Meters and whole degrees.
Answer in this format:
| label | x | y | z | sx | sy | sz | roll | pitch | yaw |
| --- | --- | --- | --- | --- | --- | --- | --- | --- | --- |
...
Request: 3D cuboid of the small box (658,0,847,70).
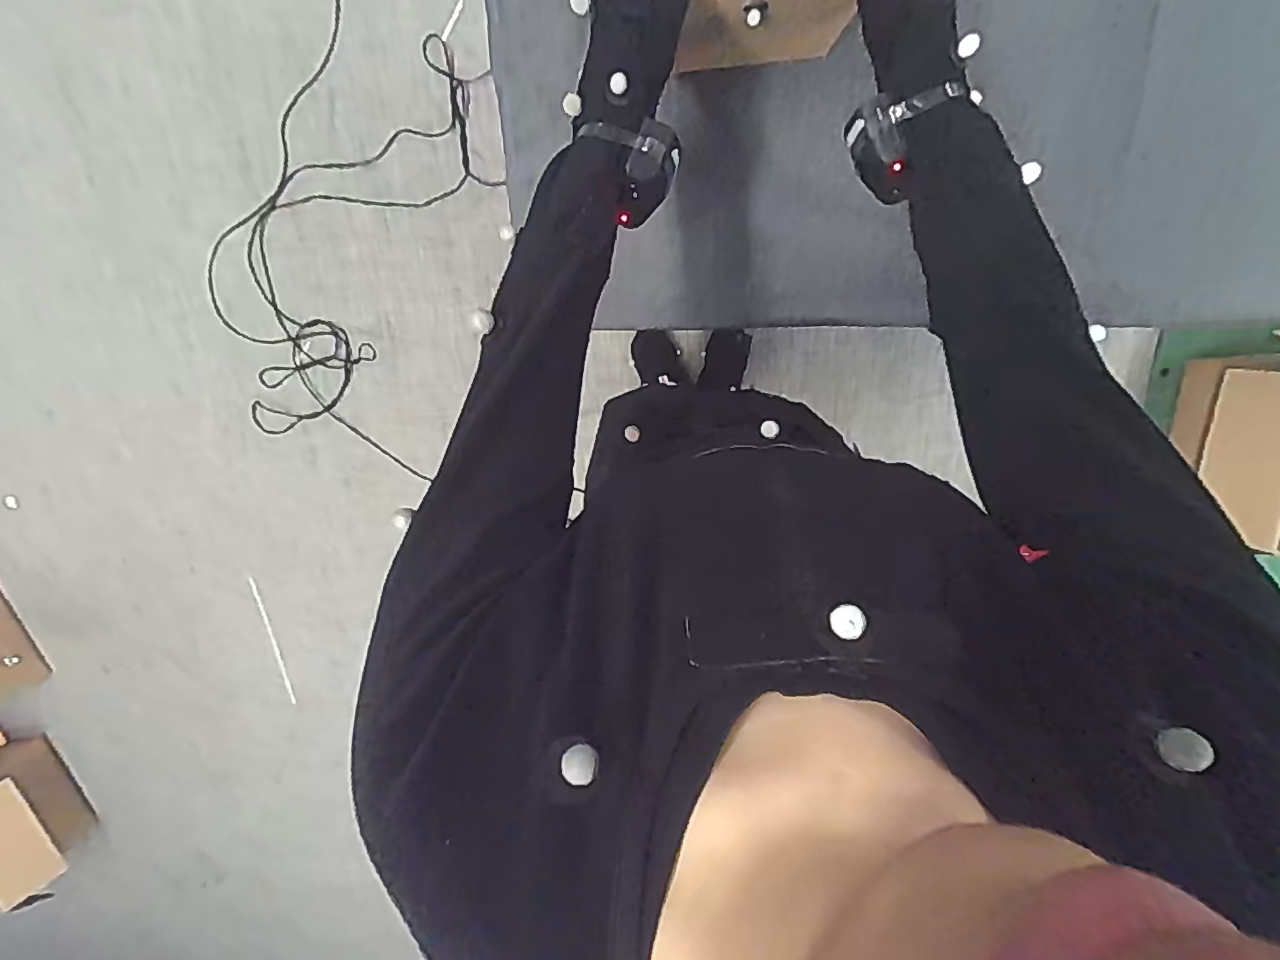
| label | x | y | z | sx | sy | sz | roll | pitch | yaw |
| --- | --- | --- | --- | --- | --- | --- | --- | --- | --- |
| small box | 0.101 | -0.500 | 0.485 | 0.179 | 0.176 | 0.168 | -5 | 108 | 2 |
